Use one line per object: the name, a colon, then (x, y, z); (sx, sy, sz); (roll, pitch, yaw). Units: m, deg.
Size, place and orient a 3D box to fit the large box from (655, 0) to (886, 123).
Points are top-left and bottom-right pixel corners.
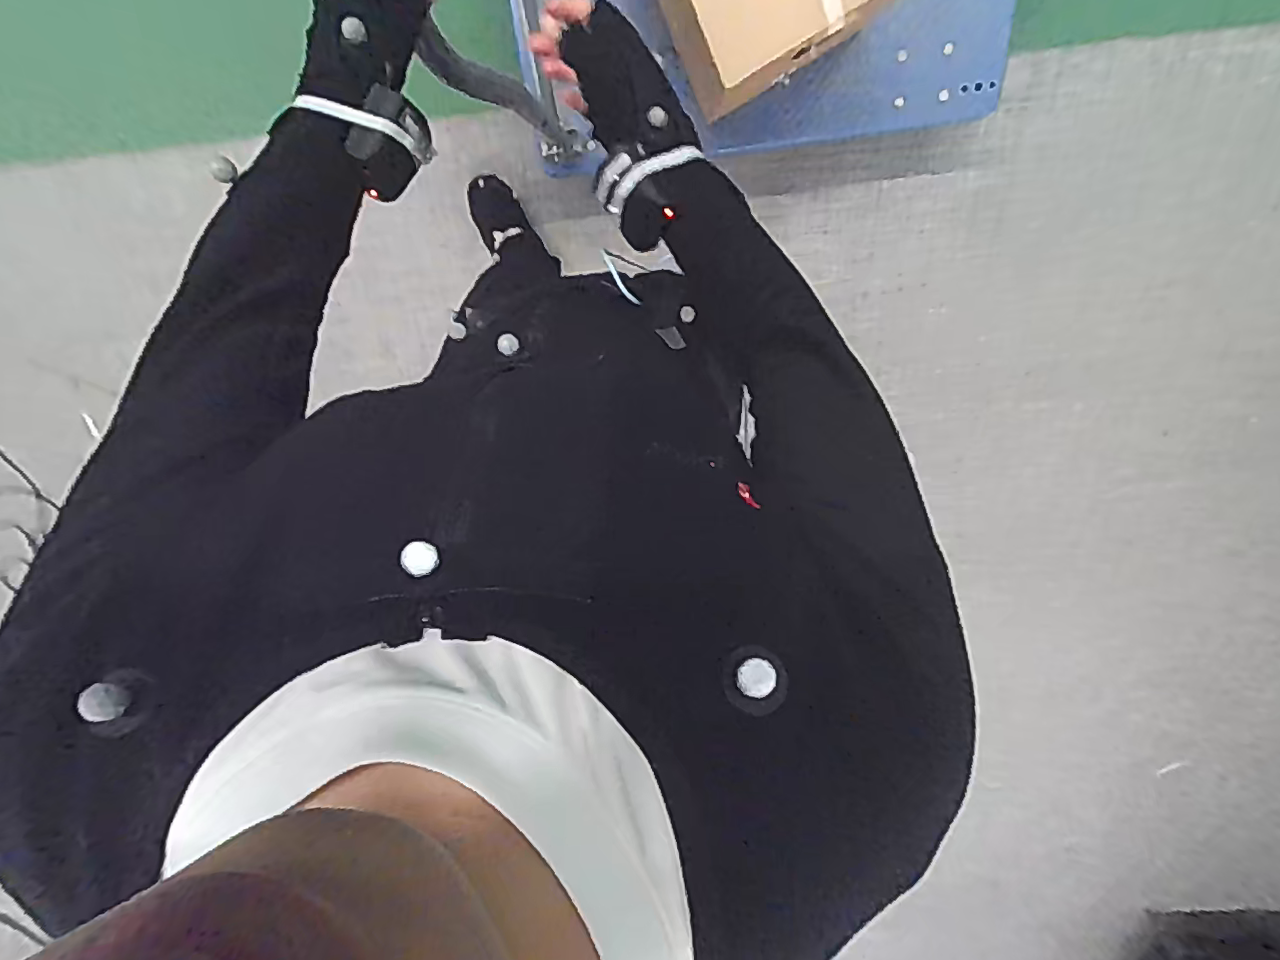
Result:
large box: (0.158, -0.831, 0.787); (0.320, 0.320, 0.408); (-25, 111, 13)
